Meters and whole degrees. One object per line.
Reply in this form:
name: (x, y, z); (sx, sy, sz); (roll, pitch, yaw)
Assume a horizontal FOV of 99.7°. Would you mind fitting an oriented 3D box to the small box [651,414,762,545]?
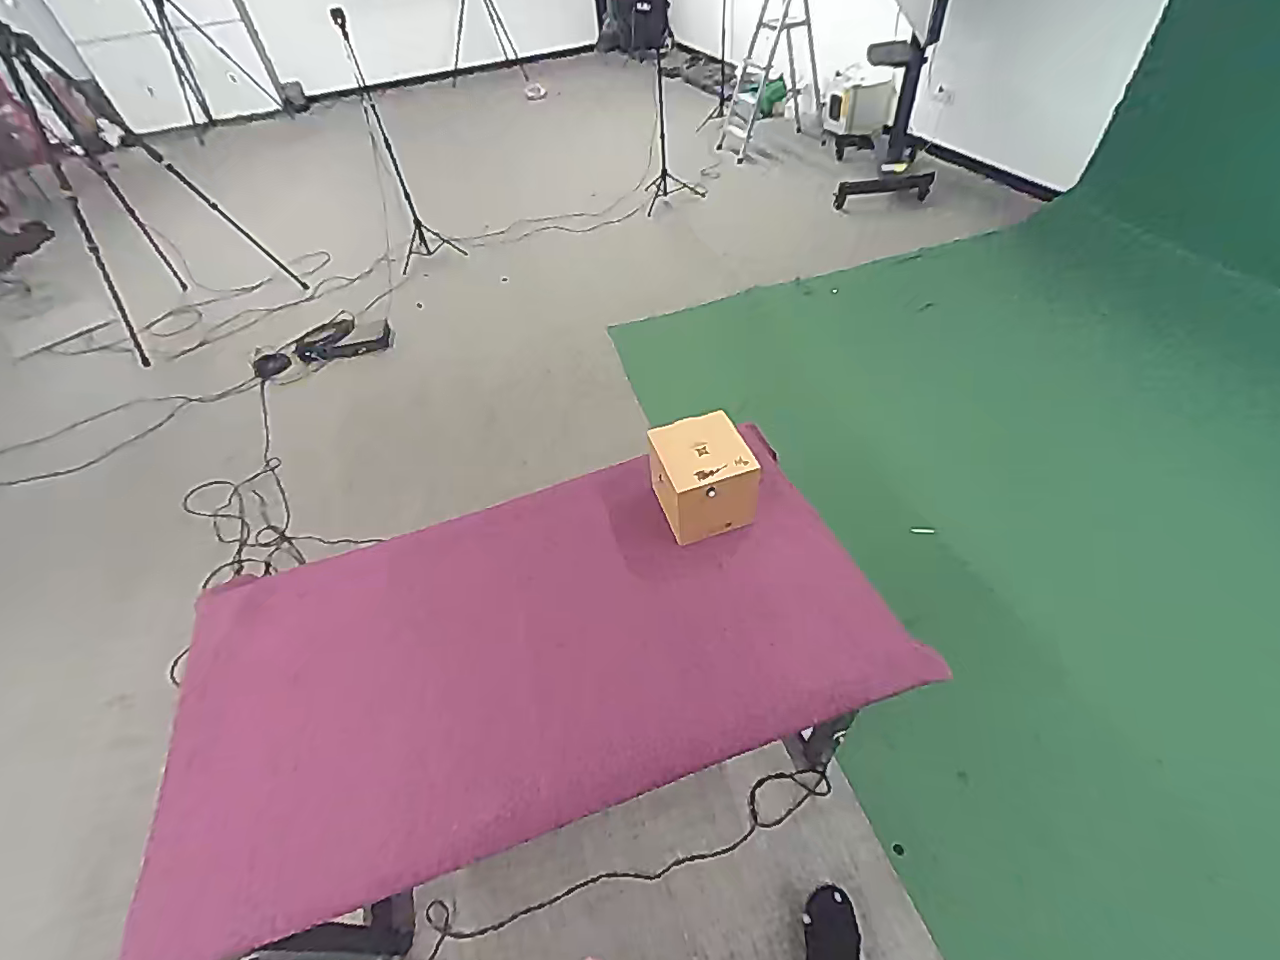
small box: (0.128, 0.000, 1.082); (0.168, 0.176, 0.179); (-17, 48, -7)
